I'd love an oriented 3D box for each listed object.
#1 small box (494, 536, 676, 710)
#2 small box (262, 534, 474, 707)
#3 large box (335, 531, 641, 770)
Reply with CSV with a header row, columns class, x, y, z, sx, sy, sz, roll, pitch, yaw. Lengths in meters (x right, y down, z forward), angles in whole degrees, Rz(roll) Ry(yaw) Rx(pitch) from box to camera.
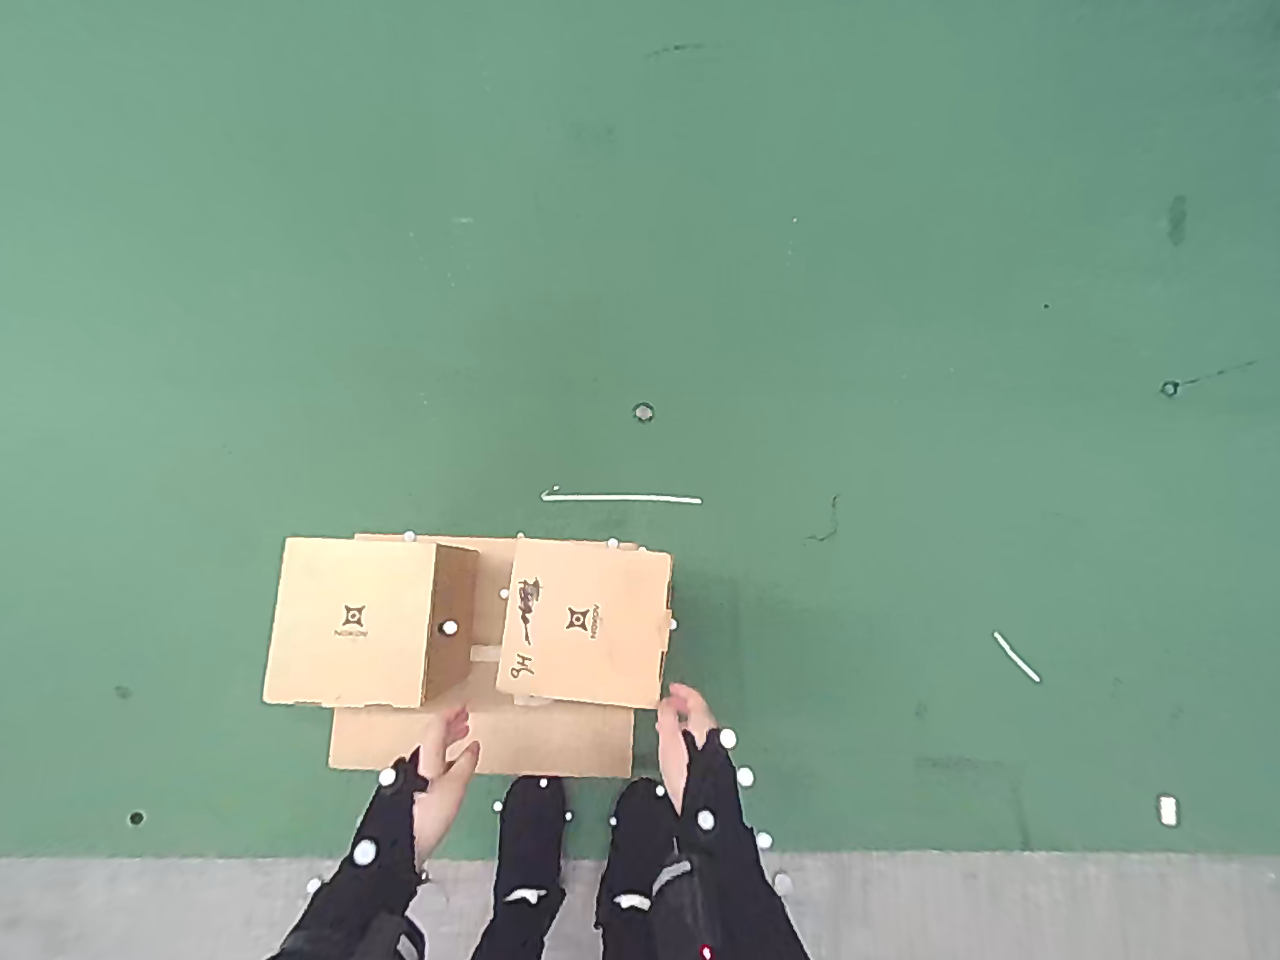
class,x,y,z,sx,sy,sz,roll,pitch,yaw
small box,-0.058,0.163,0.650,0.179,0.176,0.168,6,80,1
small box,-0.307,0.161,0.650,0.168,0.176,0.179,2,80,-1
large box,-0.205,0.254,0.882,0.408,0.320,0.320,2,81,-1
